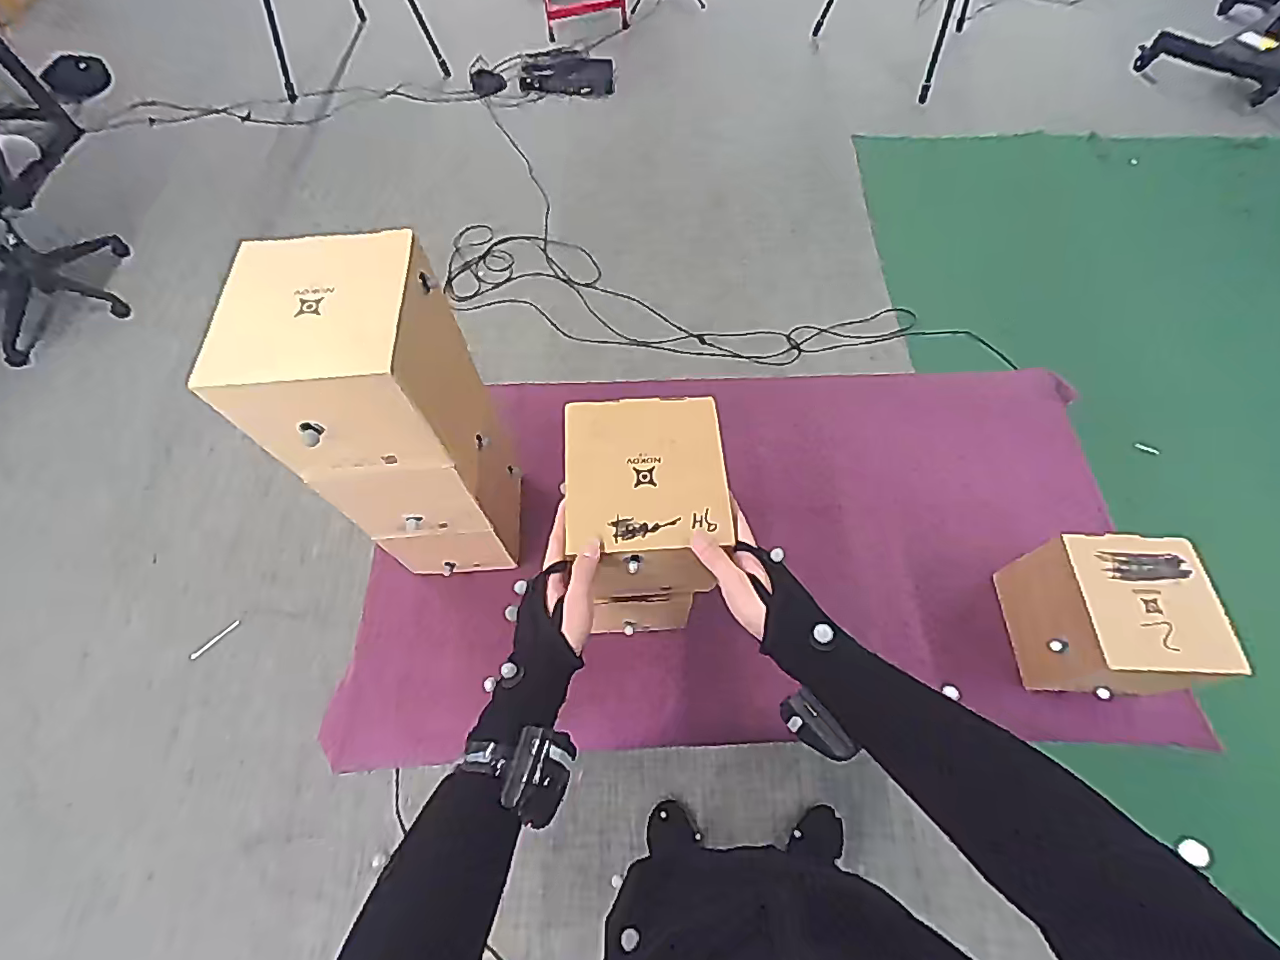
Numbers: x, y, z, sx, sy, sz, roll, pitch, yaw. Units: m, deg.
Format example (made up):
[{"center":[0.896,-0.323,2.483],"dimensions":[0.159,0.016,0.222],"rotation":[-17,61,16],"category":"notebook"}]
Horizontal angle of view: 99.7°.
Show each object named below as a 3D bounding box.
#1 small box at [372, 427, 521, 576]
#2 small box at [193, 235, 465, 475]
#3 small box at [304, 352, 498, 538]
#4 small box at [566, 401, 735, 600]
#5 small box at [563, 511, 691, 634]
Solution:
[{"center":[-0.284,0.037,0.838],"dimensions":[0.168,0.176,0.179],"rotation":[-4,63,-1],"category":"small box"},{"center":[-0.288,-0.115,0.550],"dimensions":[0.168,0.176,0.179],"rotation":[-5,62,-1],"category":"small box"},{"center":[-0.285,-0.040,0.693],"dimensions":[0.168,0.176,0.179],"rotation":[-4,63,-1],"category":"small box"},{"center":[0.006,0.029,0.625],"dimensions":[0.168,0.176,0.179],"rotation":[-3,64,-1],"category":"small box"},{"center":[-0.019,0.118,0.792],"dimensions":[0.168,0.176,0.179],"rotation":[-3,62,0],"category":"small box"}]
